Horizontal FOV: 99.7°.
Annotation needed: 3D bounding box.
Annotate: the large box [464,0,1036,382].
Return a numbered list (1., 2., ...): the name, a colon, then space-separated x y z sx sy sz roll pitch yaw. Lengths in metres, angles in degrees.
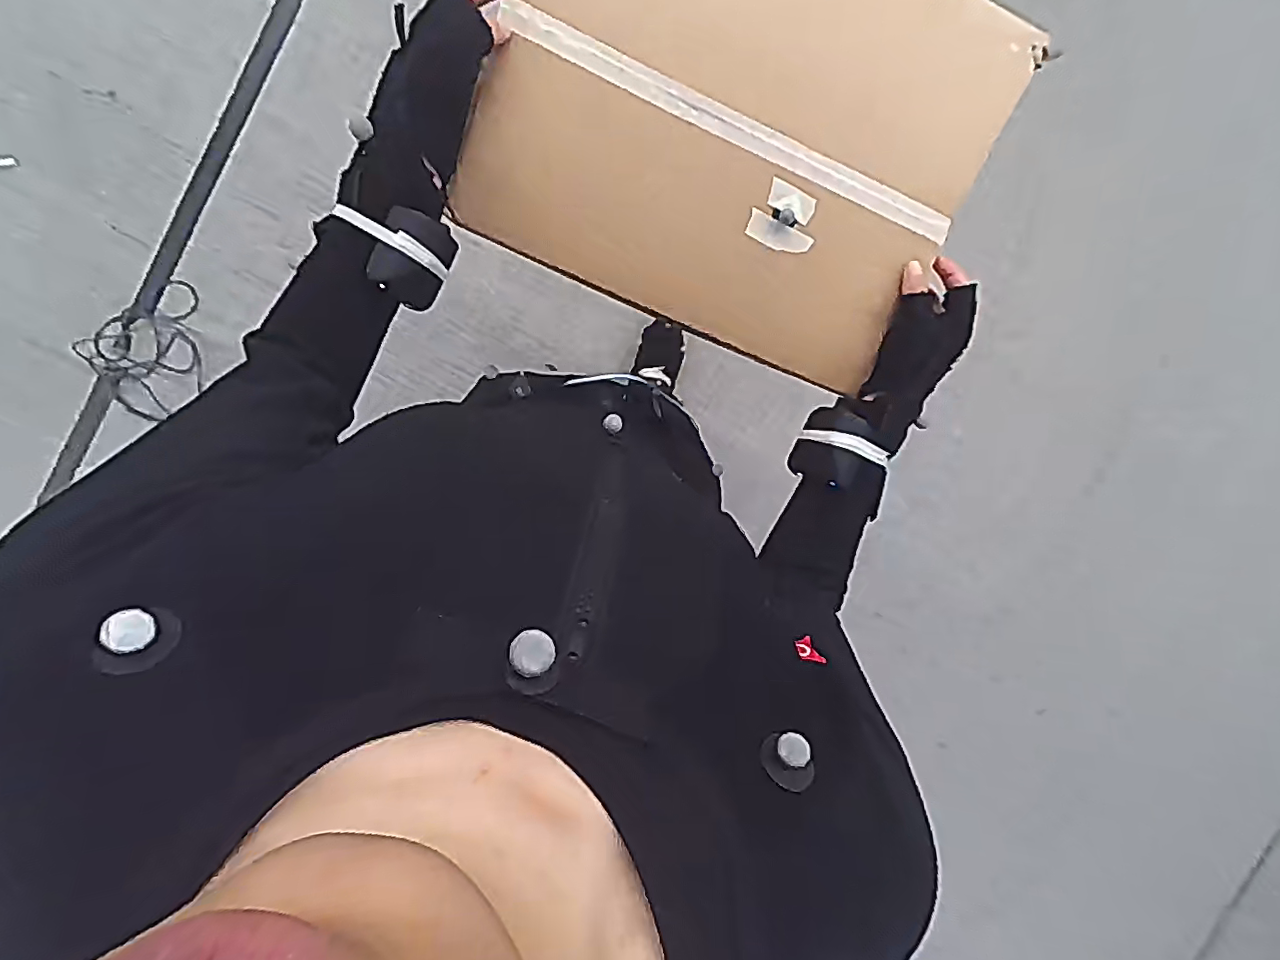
1. large box: 0.079 -0.341 0.593 0.408 0.320 0.320 22 107 -9
